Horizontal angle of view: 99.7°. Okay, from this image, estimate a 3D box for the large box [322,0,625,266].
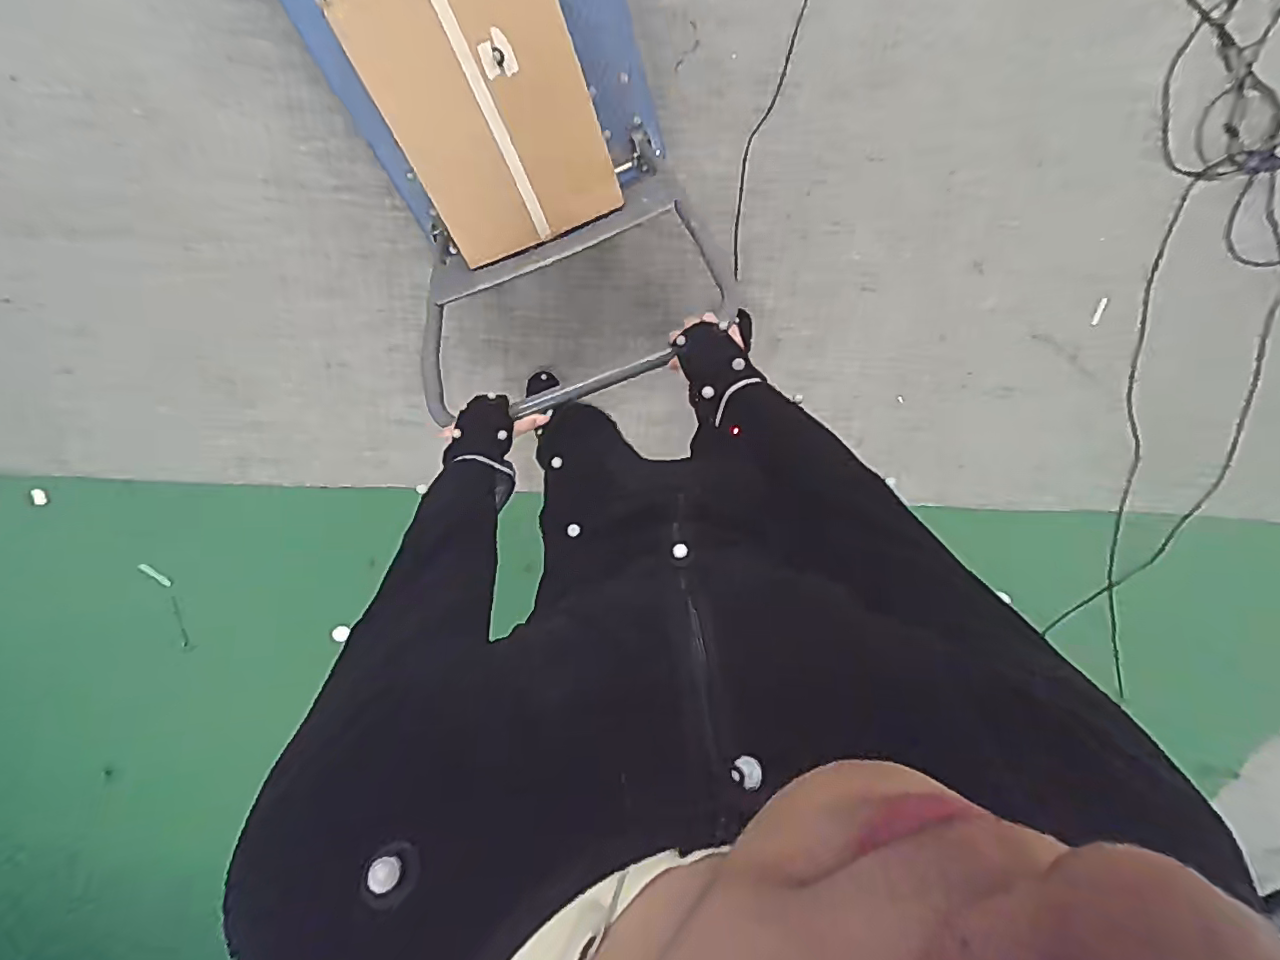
[{"bbox_3d":[-0.254,-0.677,0.966,0.320,0.320,0.408,-21,133,7],"label":"large box"}]
